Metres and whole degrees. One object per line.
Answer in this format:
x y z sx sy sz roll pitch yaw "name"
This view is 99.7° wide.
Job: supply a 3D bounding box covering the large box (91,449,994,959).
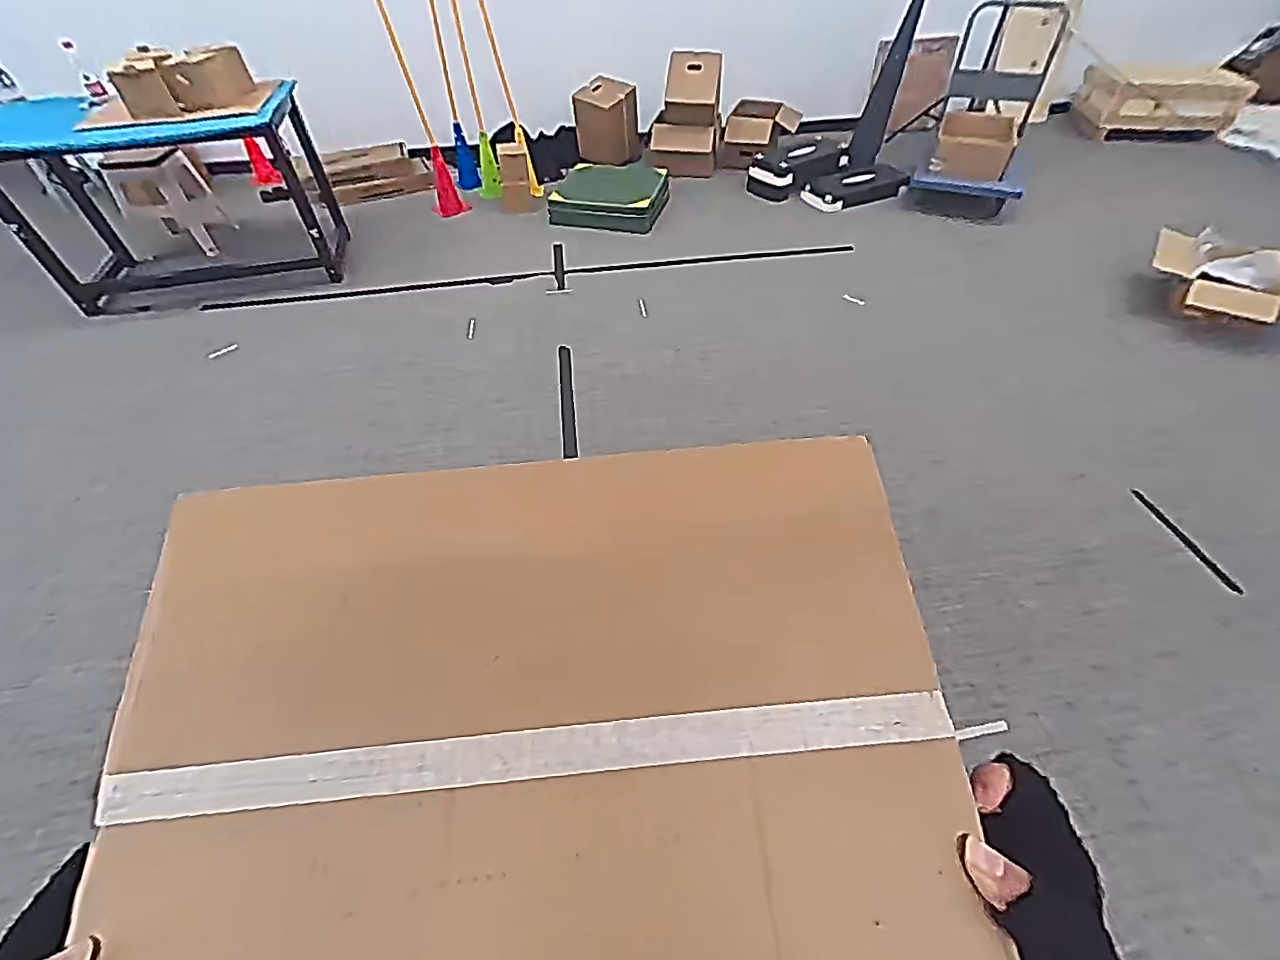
-0.050 0.197 0.407 0.408 0.320 0.320 -5 67 -1 "large box"
